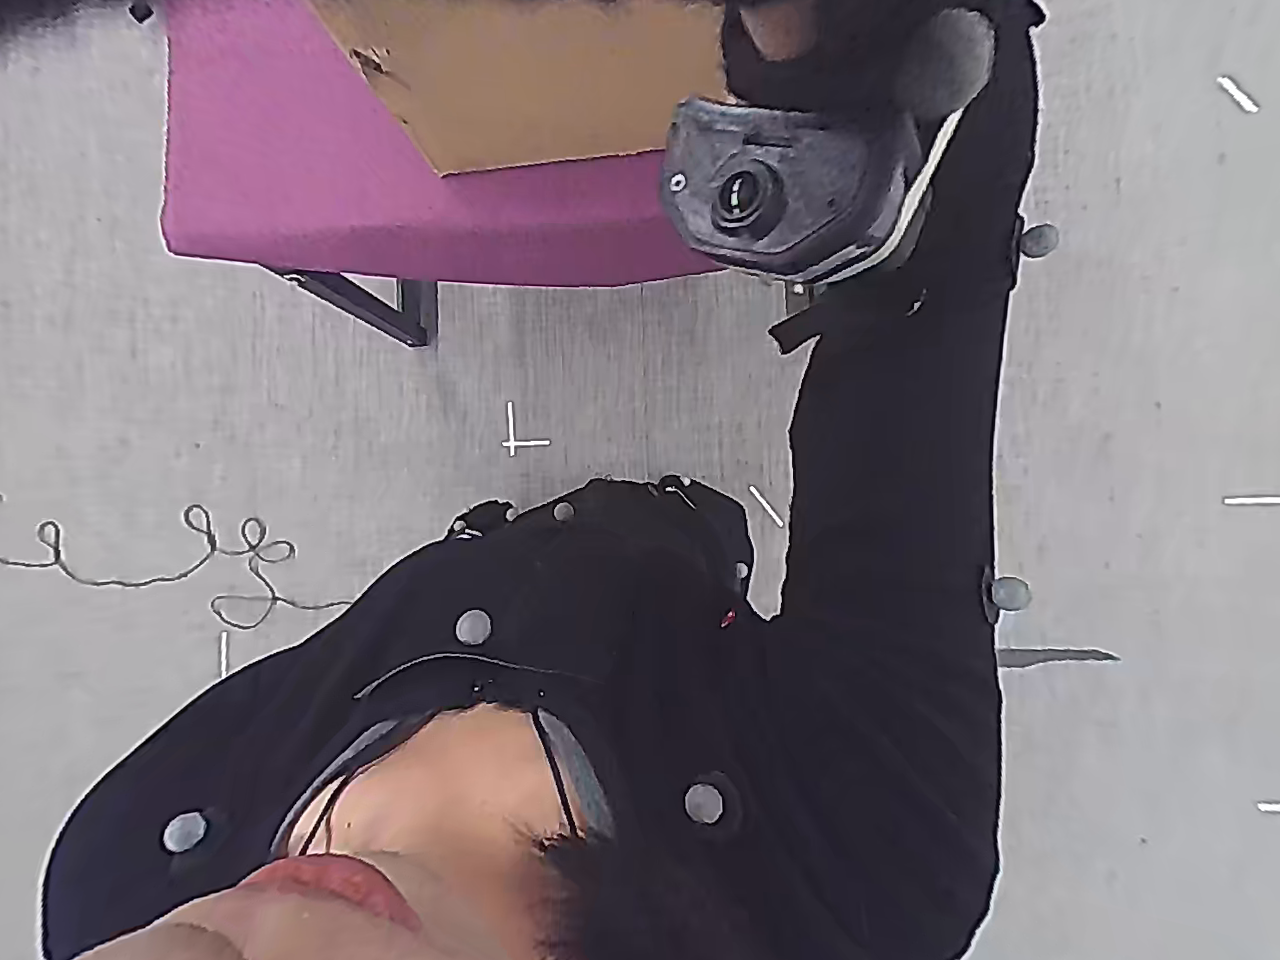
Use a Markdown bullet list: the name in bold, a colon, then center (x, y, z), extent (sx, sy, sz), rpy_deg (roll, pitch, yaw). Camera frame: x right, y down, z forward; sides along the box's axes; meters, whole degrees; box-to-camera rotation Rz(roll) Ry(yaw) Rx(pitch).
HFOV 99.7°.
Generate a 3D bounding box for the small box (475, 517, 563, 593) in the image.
- **small box**: center (-0.318, 0.195, 1.444), extent (0.179, 0.176, 0.168), rpy_deg (-12, 88, 2)
